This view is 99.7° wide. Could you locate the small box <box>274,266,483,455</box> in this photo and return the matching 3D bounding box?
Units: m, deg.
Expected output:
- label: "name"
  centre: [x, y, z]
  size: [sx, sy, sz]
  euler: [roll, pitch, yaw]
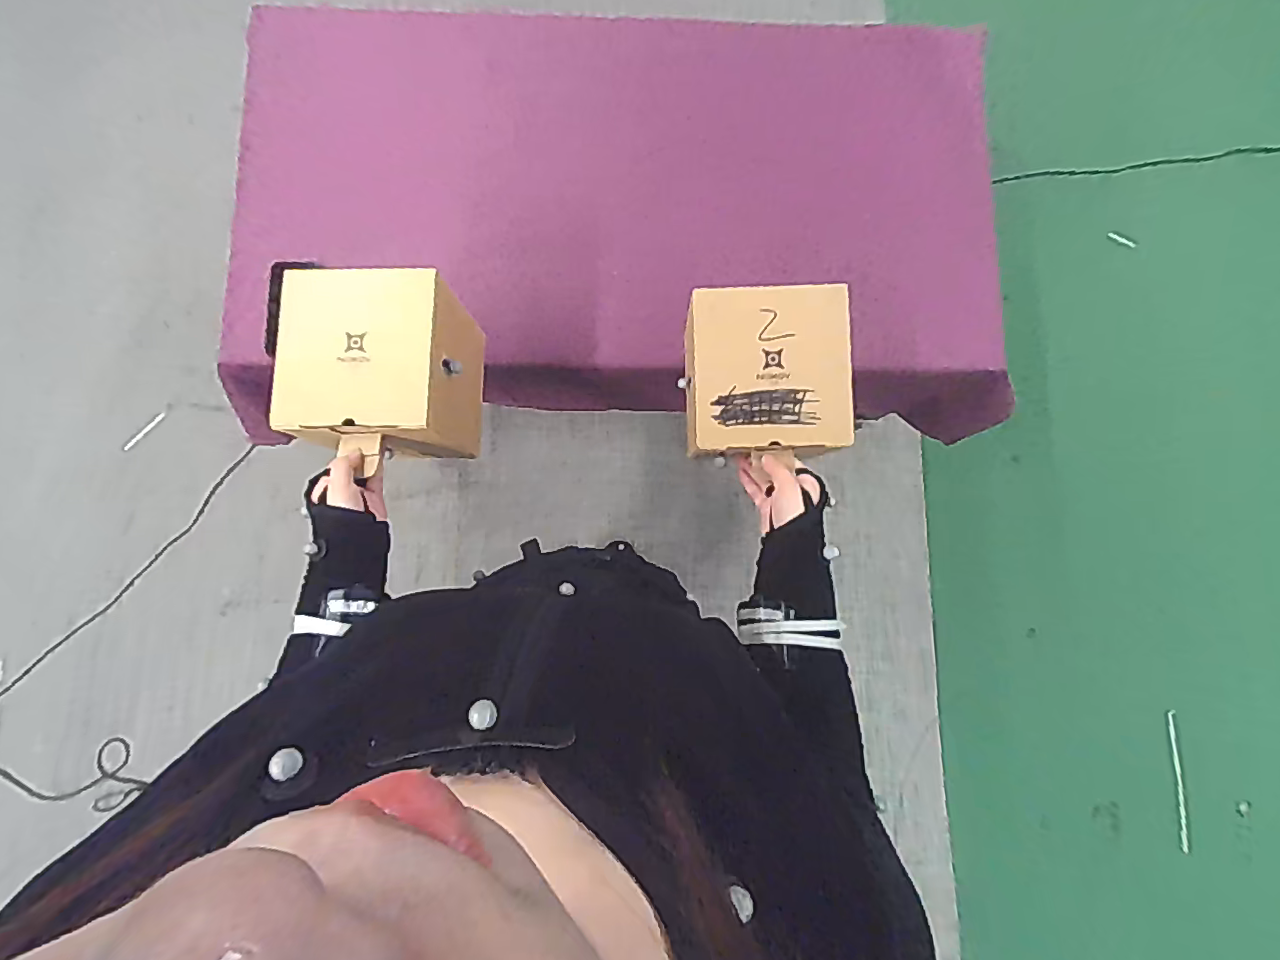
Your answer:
- label: "small box"
  centre: [-0.296, -0.133, 0.650]
  size: [0.168, 0.176, 0.179]
  euler: [1, 83, 1]
